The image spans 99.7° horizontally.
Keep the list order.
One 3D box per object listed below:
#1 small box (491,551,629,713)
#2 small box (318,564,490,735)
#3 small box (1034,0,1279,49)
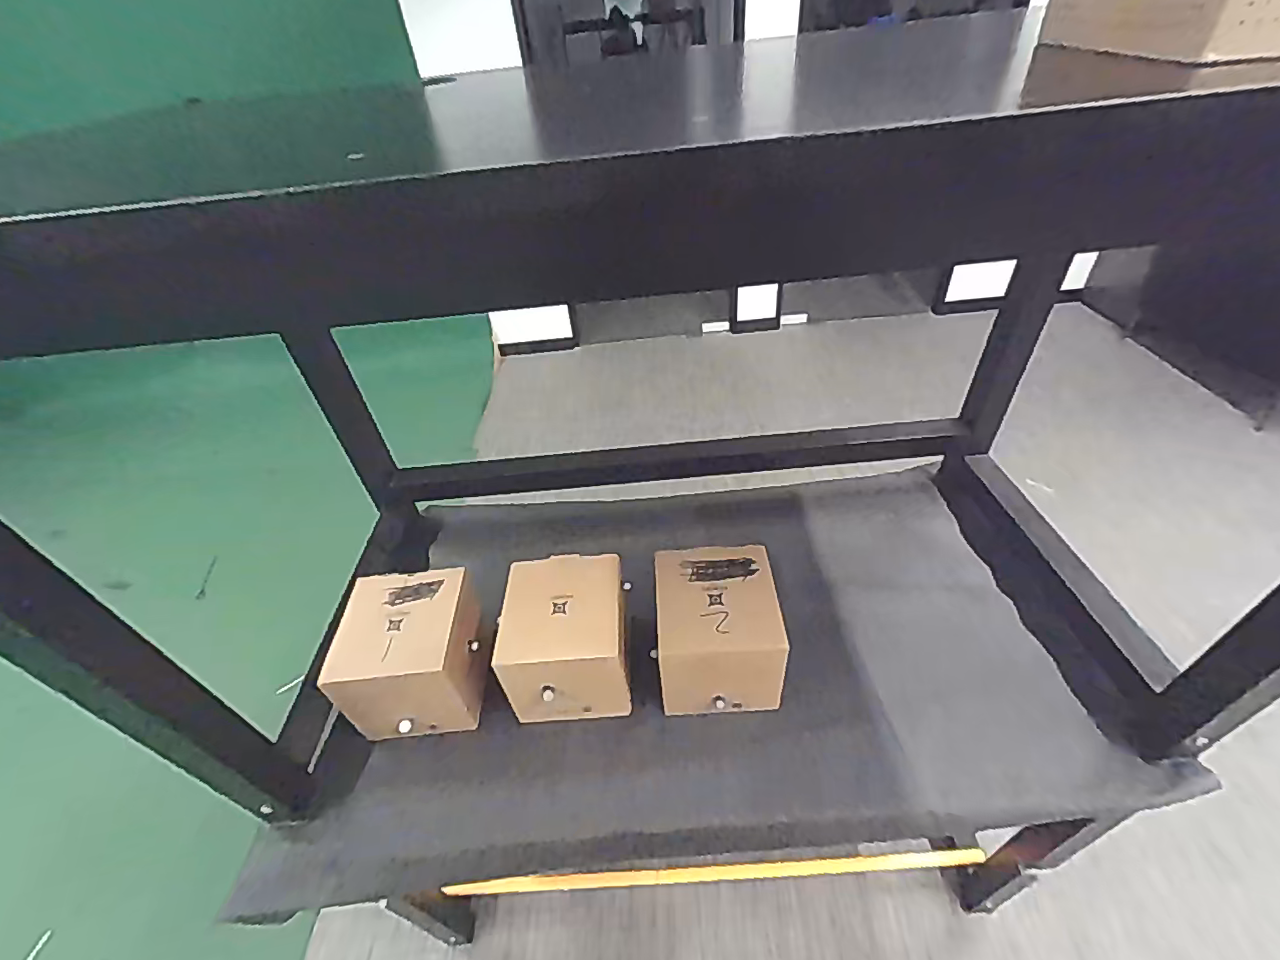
[{"bbox_3d":[-0.106,0.230,0.805,0.168,0.176,0.179,-4,40,2],"label":"small box"},{"bbox_3d":[-0.332,0.251,0.806,0.168,0.176,0.179,-6,41,0],"label":"small box"},{"bbox_3d":[0.326,-0.309,0.243,0.168,0.176,0.179,1,41,9],"label":"small box"}]
